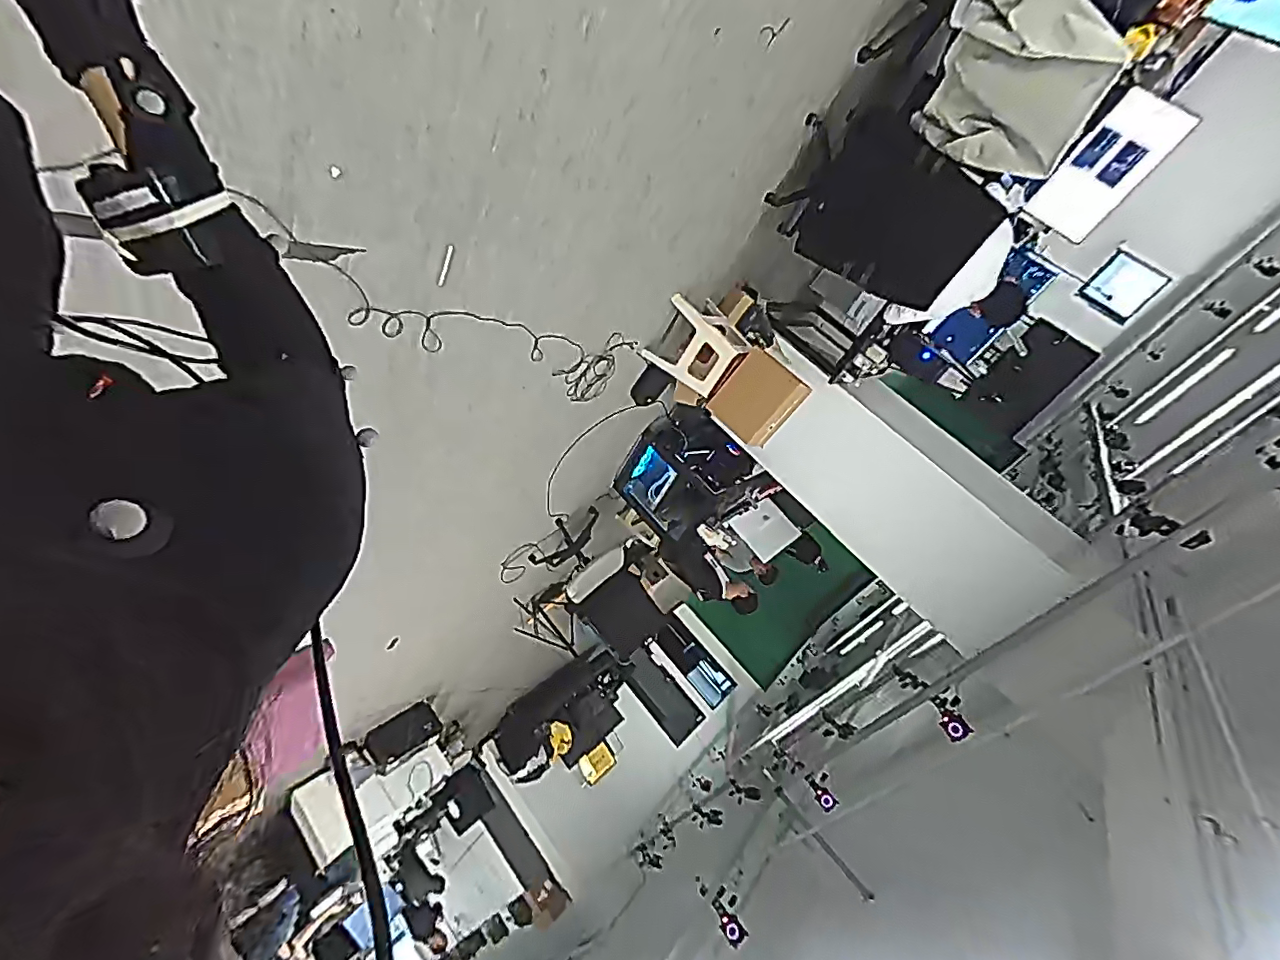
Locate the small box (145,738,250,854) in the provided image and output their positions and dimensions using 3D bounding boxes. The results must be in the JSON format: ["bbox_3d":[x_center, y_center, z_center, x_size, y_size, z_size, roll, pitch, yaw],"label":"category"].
[{"bbox_3d":[-1.122,0.797,1.378,0.168,0.176,0.179,-23,152,-47],"label":"small box"}]
